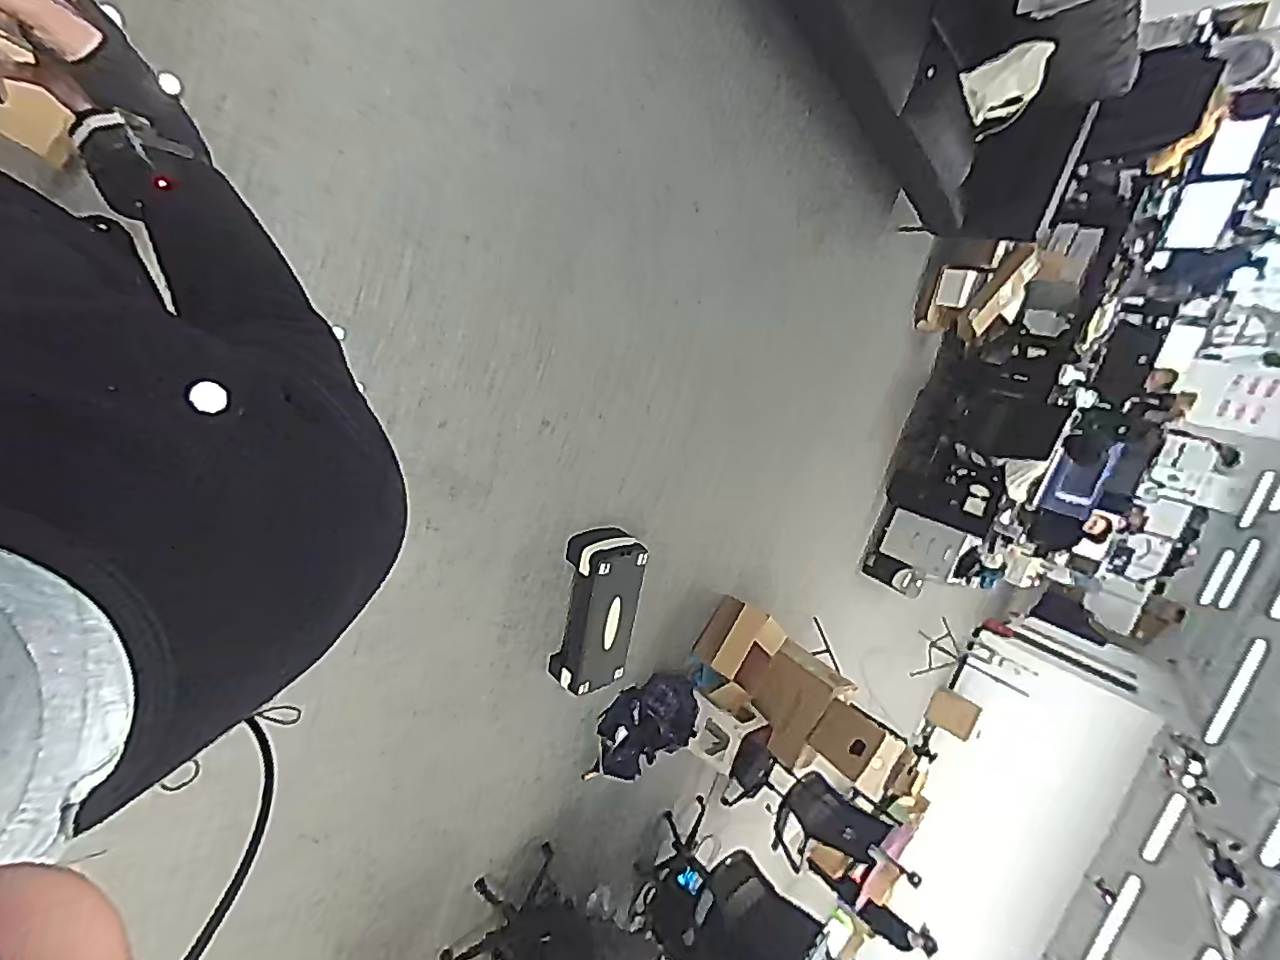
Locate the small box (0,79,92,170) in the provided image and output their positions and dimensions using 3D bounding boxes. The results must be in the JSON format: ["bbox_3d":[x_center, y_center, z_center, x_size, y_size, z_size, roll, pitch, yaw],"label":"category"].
[{"bbox_3d":[-1.057,-0.647,0.892,0.168,0.176,0.179,29,88,-48],"label":"small box"}]

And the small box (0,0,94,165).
[{"bbox_3d":[-0.945,-0.594,0.784,0.168,0.176,0.179,31,86,-47],"label":"small box"}]
